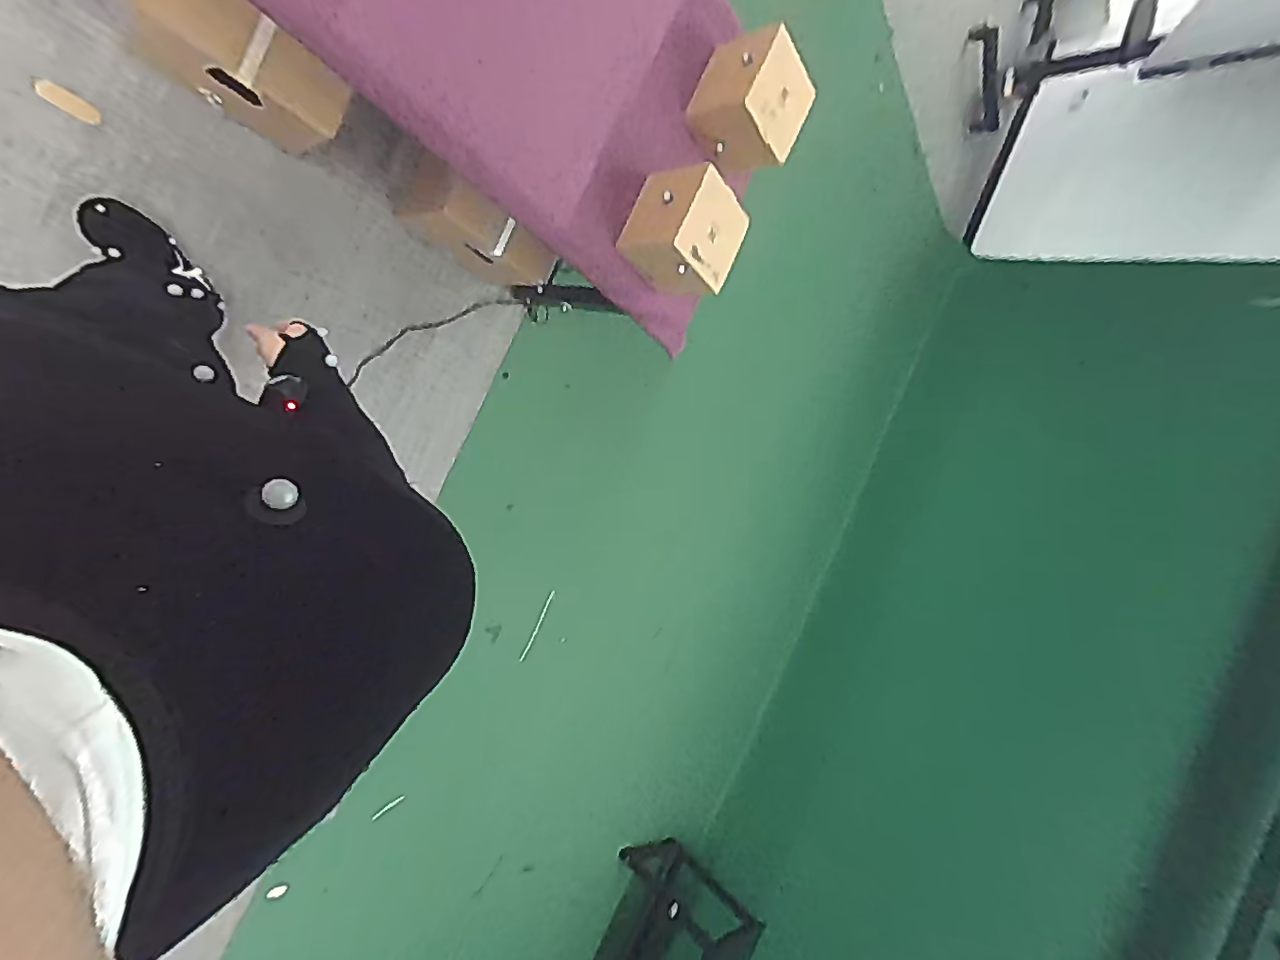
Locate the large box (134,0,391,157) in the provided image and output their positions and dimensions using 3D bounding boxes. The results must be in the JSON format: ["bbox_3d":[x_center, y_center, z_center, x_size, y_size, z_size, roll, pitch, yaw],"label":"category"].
[{"bbox_3d":[-0.736,-0.944,1.073,0.320,0.320,0.408,22,89,-48],"label":"large box"}]

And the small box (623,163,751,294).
[{"bbox_3d":[0.092,-0.502,1.105,0.168,0.176,0.179,29,83,-45],"label":"small box"}]

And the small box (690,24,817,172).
[{"bbox_3d":[0.233,-0.783,1.129,0.168,0.176,0.179,28,87,-45],"label":"small box"}]
